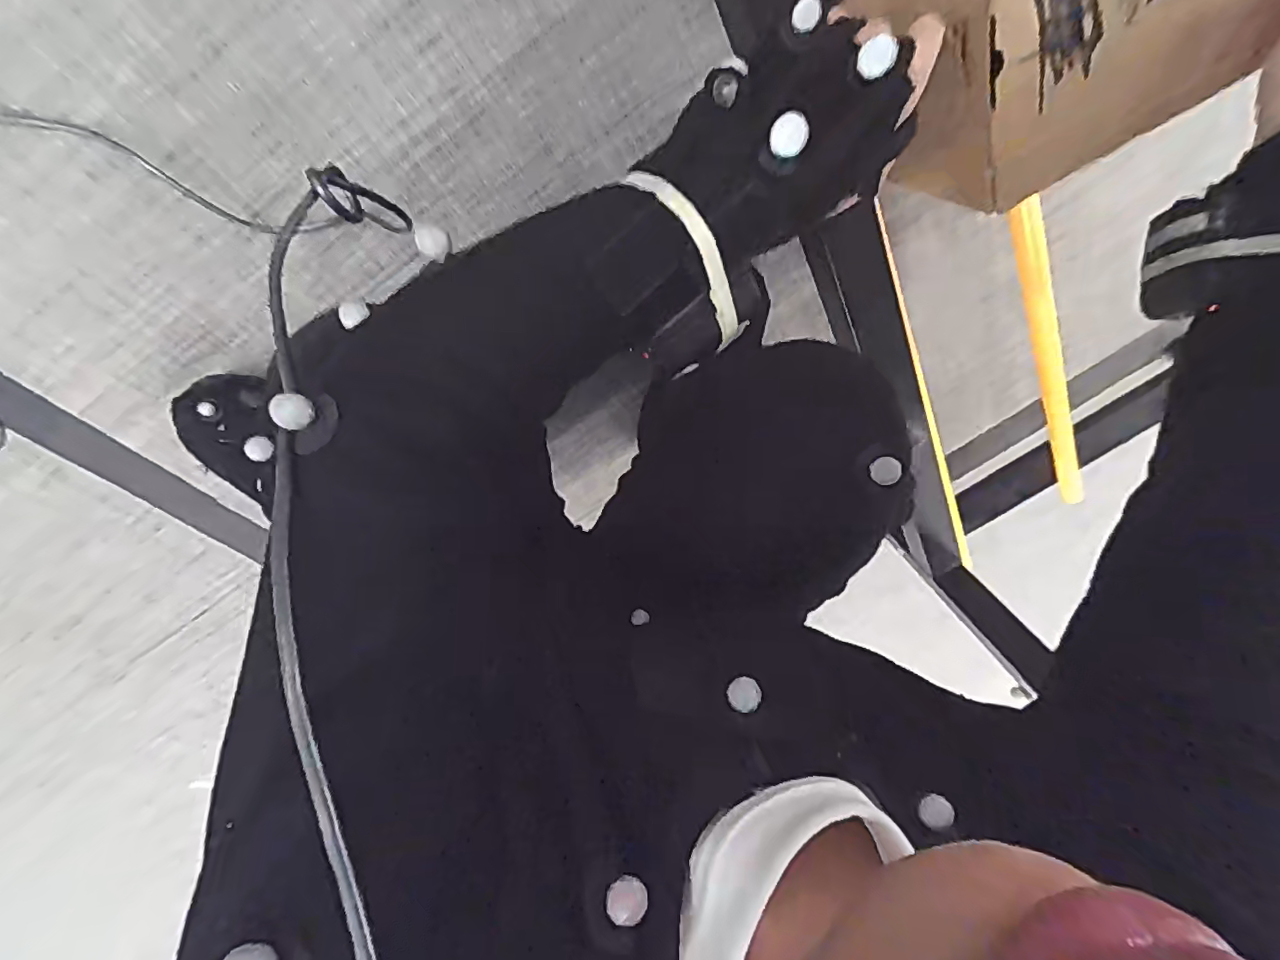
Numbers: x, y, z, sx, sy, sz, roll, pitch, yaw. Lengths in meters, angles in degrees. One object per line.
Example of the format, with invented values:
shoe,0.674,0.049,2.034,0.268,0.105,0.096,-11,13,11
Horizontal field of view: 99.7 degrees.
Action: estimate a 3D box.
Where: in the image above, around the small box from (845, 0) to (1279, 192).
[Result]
small box,0.241,-0.309,0.326,0.179,0.176,0.168,-28,130,5
